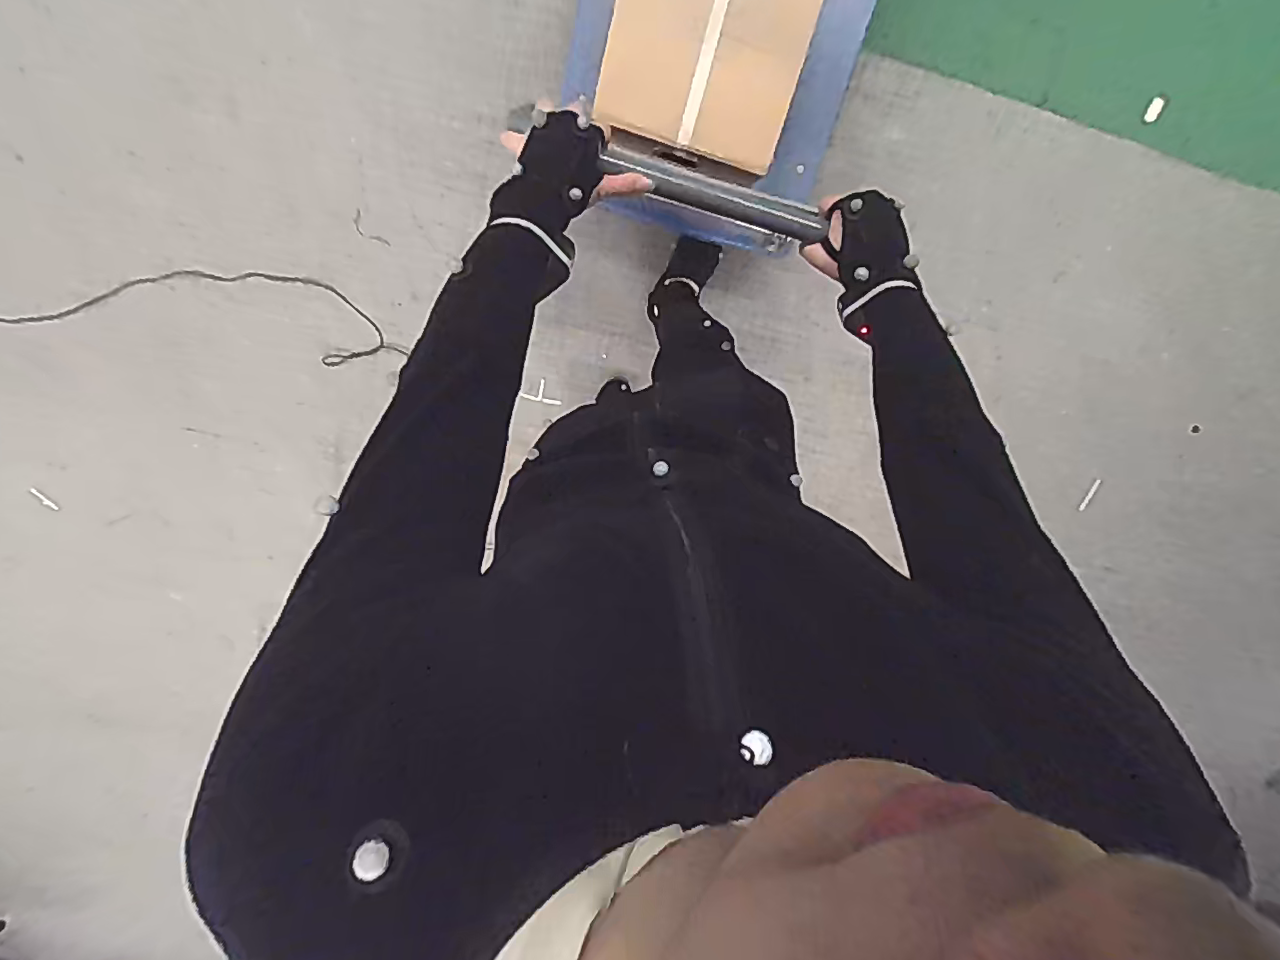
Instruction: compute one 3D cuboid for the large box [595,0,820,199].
[{"bbox_3d":[0.119,-0.790,0.994,0.320,0.320,0.408,14,109,-7],"label":"large box"}]
